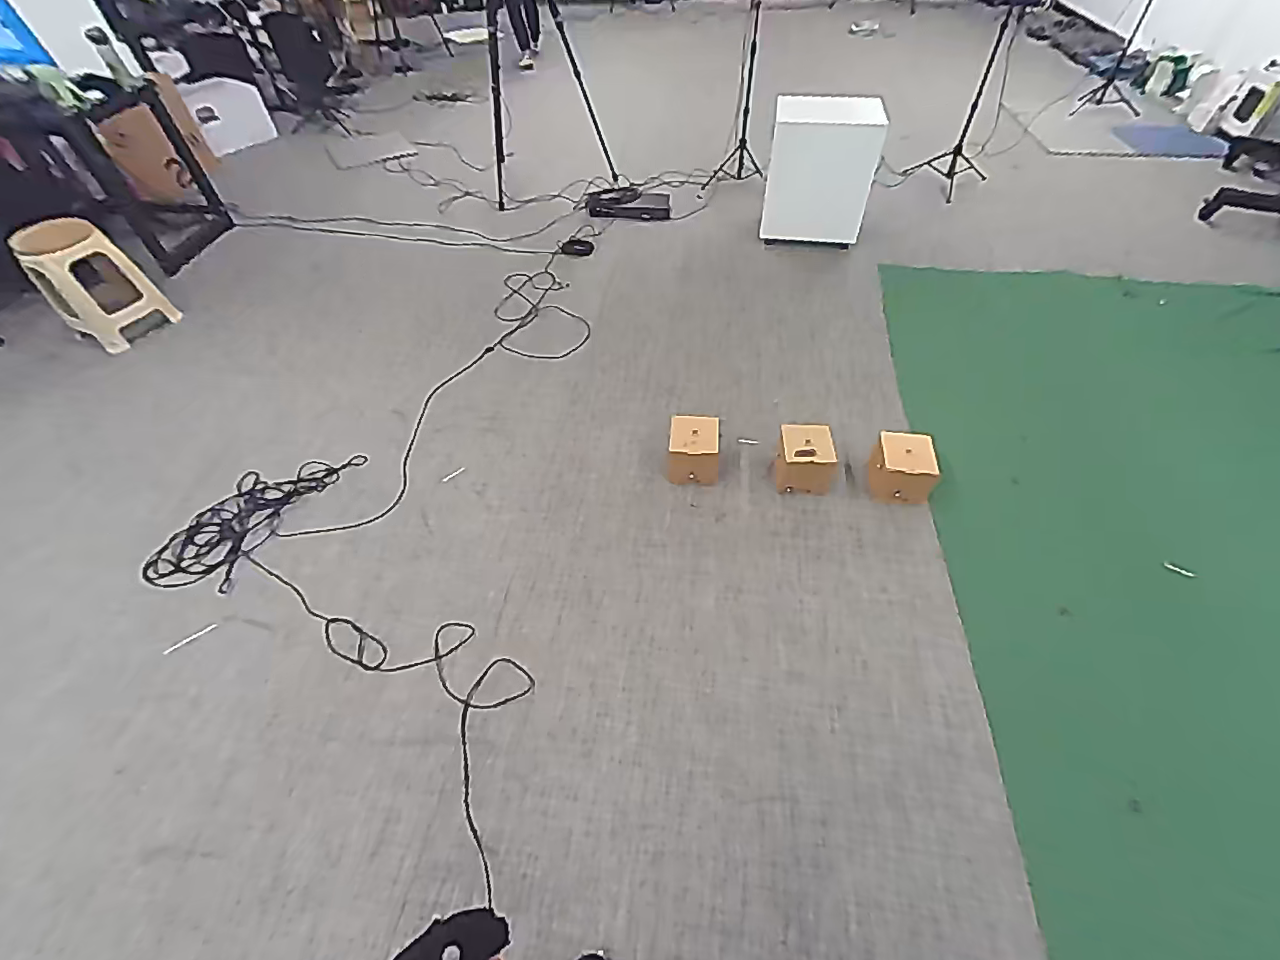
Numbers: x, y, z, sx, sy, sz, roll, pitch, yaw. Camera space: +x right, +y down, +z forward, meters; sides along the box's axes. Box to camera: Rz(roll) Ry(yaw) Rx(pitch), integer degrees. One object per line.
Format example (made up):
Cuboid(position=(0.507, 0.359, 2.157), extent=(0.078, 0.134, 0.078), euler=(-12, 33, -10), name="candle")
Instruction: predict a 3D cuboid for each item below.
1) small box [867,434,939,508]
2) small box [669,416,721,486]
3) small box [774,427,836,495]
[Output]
Cuboid(position=(0.884, -0.030, 1.839), extent=(0.168, 0.176, 0.179), euler=(6, 51, 7), name="small box")
Cuboid(position=(0.193, -0.102, 1.906), extent=(0.168, 0.176, 0.179), euler=(4, 51, 6), name="small box")
Cuboid(position=(0.564, -0.064, 1.871), extent=(0.168, 0.176, 0.179), euler=(3, 50, 3), name="small box")
